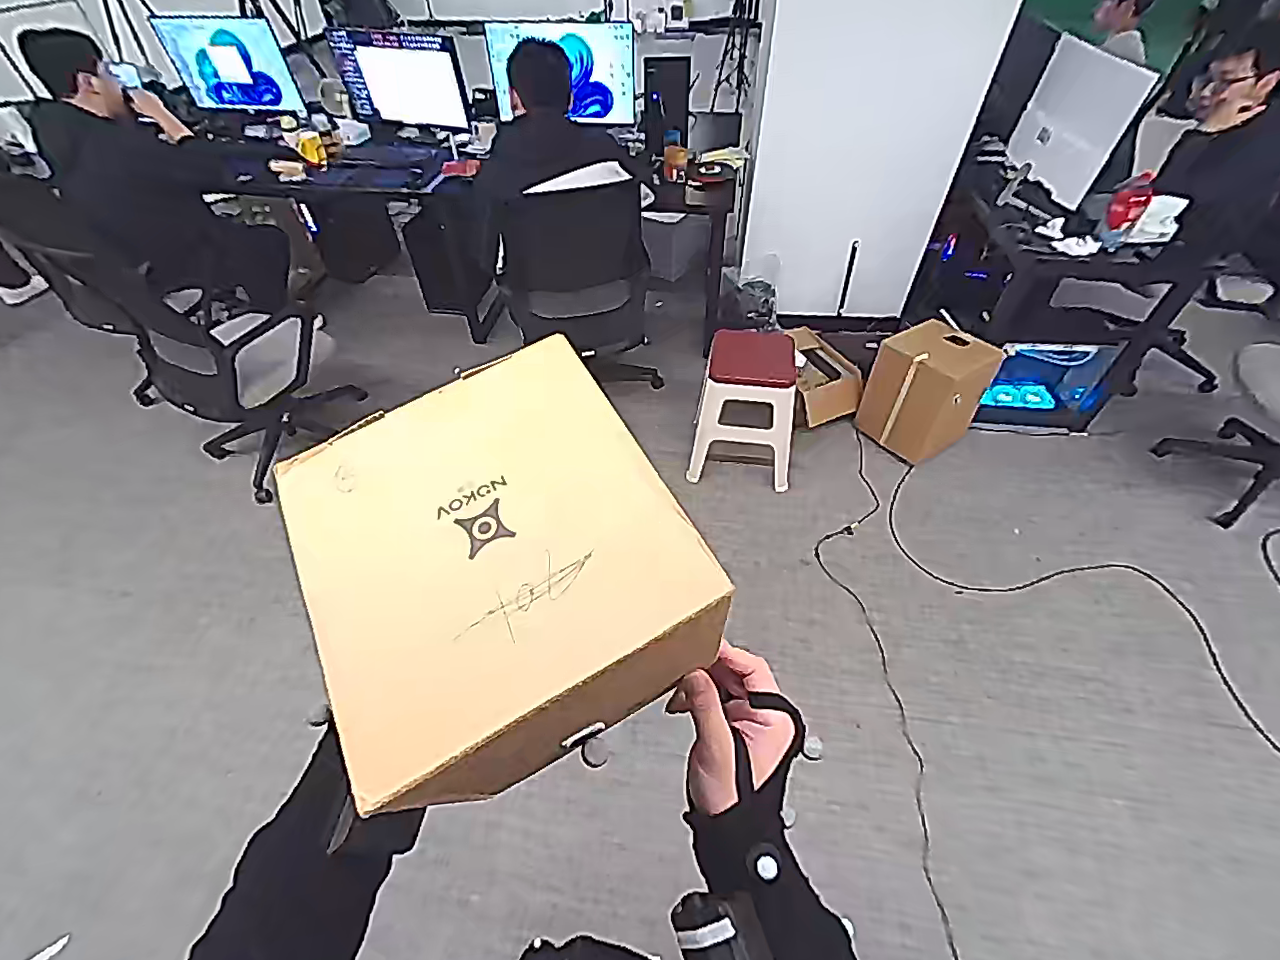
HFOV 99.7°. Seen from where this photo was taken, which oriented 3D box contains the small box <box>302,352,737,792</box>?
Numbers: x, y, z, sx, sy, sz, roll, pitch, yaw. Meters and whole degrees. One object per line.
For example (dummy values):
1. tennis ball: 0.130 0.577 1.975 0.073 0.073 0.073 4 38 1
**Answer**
1. small box: -0.063 0.063 0.331 0.168 0.176 0.179 -28 63 -10
